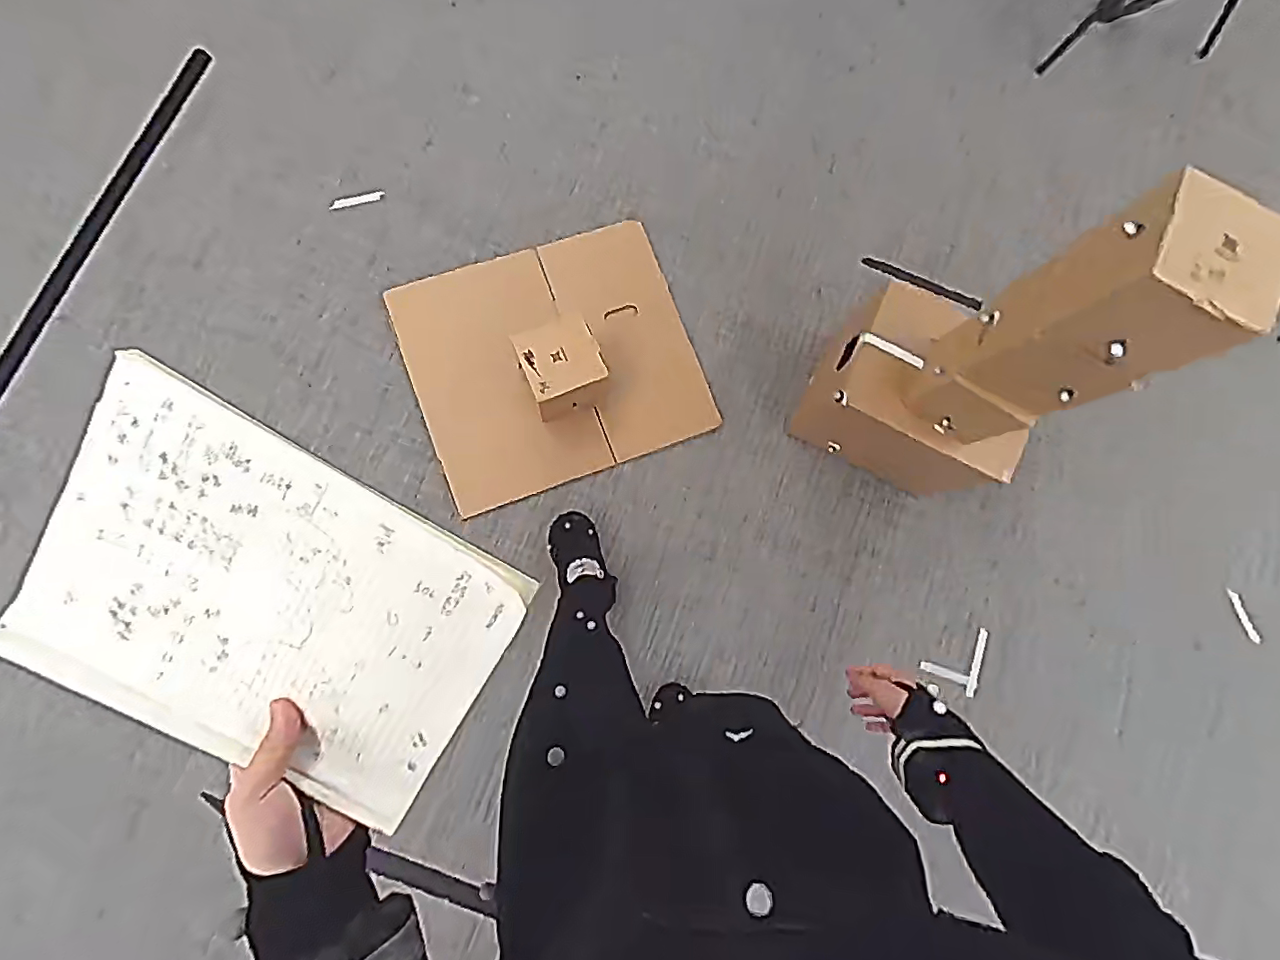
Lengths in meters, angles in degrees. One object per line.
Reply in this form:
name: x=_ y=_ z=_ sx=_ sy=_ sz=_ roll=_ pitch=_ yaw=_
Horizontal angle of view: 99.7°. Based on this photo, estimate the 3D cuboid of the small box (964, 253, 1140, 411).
small box: x=0.688 y=-0.230 z=0.895 sx=0.179 sy=0.176 sz=0.168 roll=25 pitch=79 yaw=-1

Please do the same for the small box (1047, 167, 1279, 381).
small box: x=0.707 y=-0.265 z=0.735 sx=0.168 sy=0.176 sz=0.179 roll=27 pitch=80 yaw=-1

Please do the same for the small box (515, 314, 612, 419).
small box: x=-0.183 y=-0.263 z=1.282 sx=0.179 sy=0.176 sz=0.168 roll=-22 pitch=85 yaw=-10
